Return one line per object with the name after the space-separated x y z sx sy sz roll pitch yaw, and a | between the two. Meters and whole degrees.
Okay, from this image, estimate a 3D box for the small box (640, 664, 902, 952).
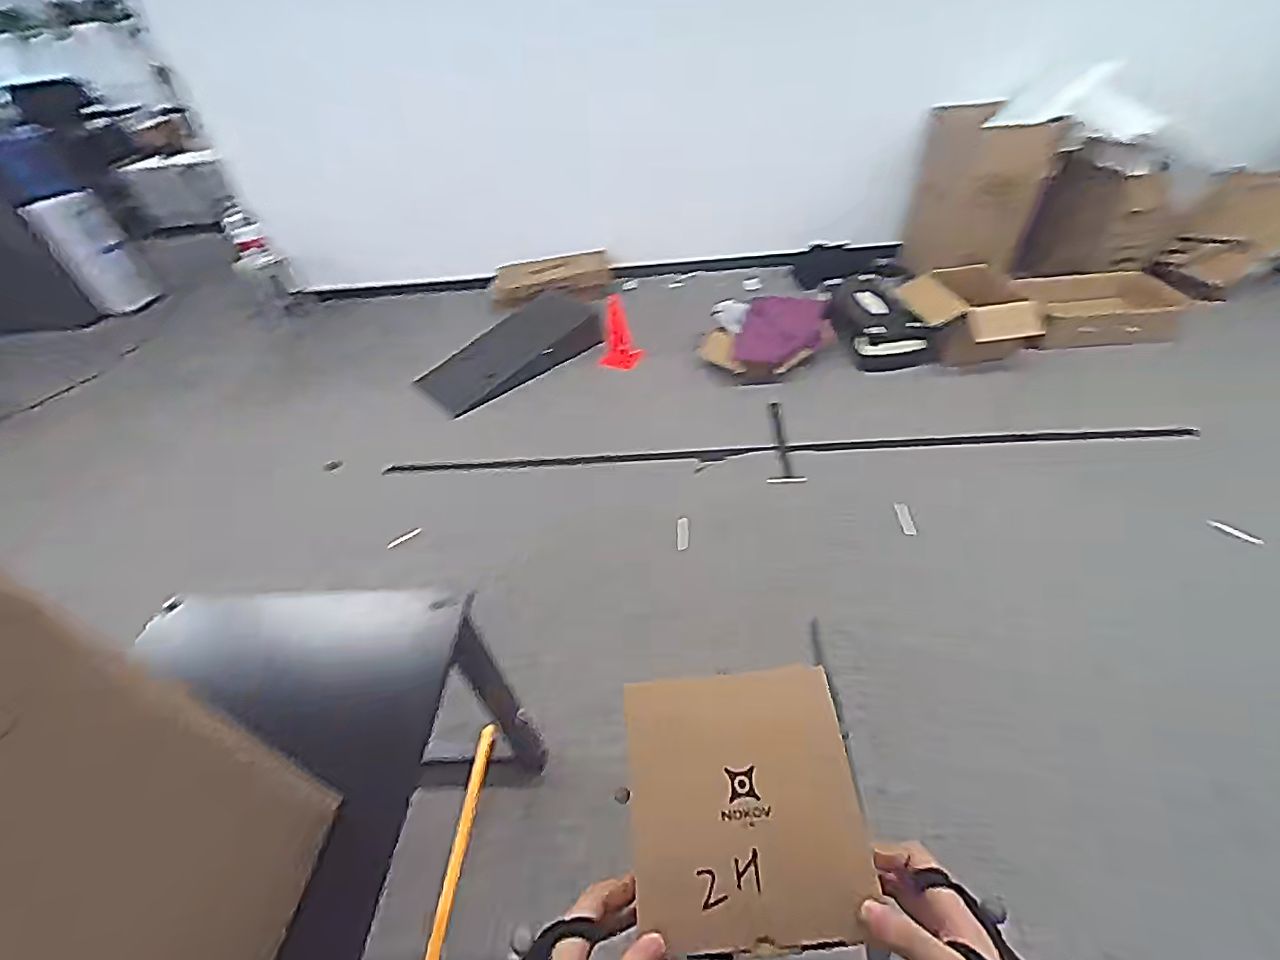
0.087 0.270 0.457 0.168 0.176 0.179 -5 56 2 | small box
